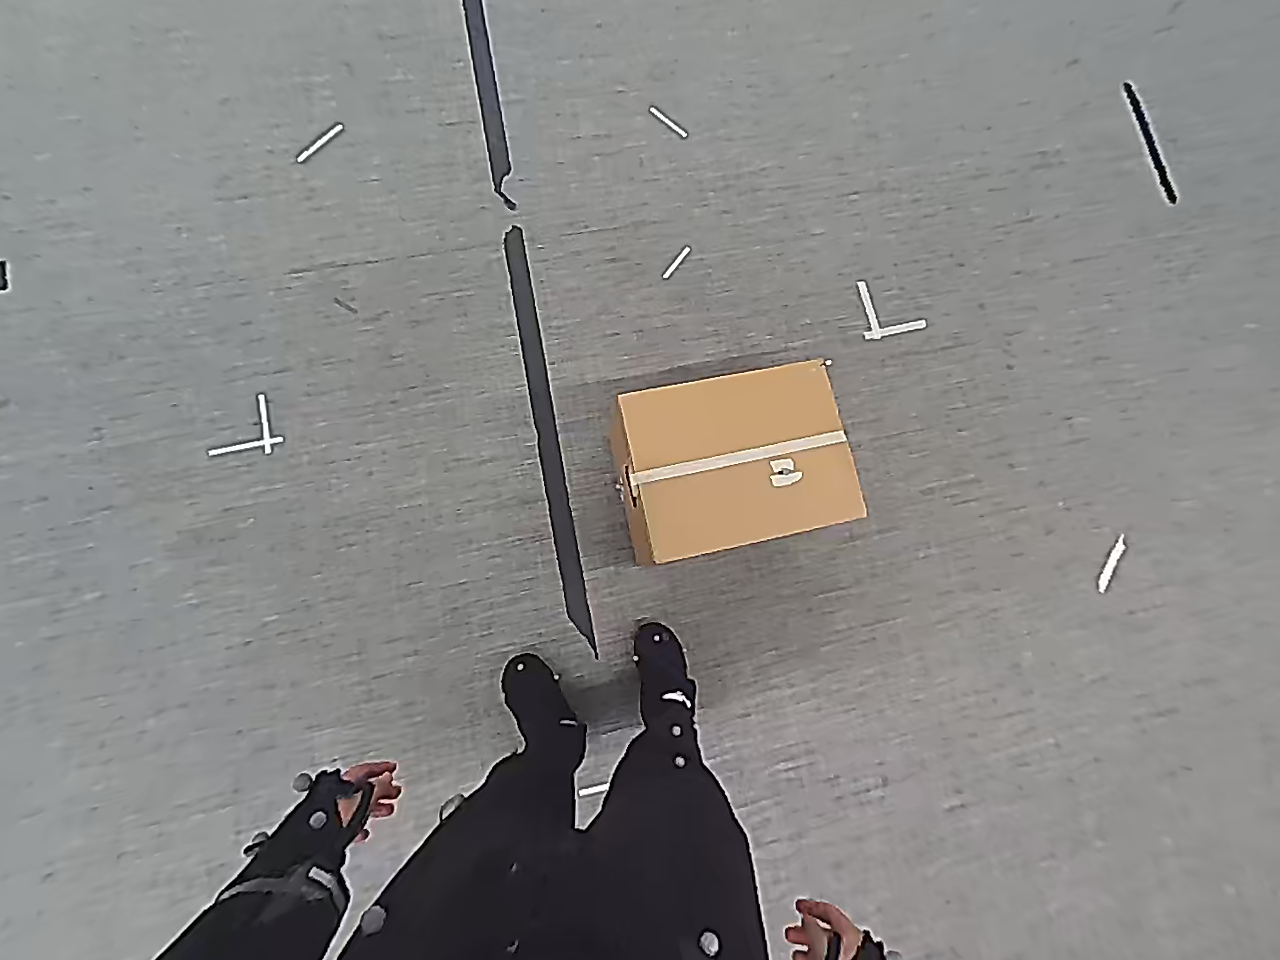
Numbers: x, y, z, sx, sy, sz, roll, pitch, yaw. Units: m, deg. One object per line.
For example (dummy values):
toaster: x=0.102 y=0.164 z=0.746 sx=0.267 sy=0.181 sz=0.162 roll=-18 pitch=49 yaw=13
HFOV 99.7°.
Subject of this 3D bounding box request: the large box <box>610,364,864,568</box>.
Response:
large box: x=0.171 y=-0.011 z=1.131 sx=0.408 sy=0.320 sz=0.320 roll=-11 pitch=82 yaw=-9
